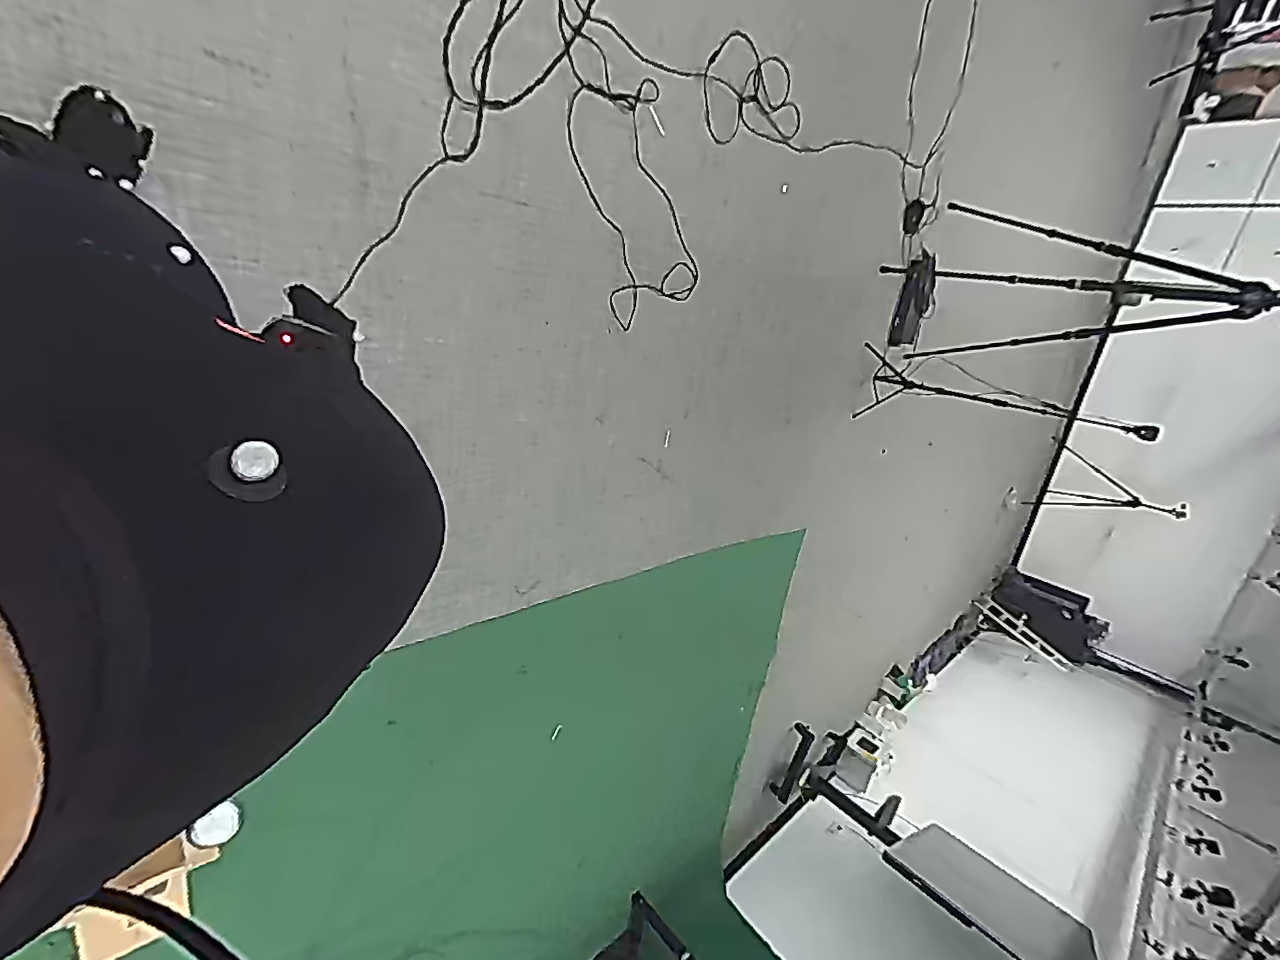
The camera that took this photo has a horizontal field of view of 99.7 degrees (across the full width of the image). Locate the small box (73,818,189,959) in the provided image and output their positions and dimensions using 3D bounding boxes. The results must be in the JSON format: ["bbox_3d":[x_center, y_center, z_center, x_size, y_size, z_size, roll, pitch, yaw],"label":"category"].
[{"bbox_3d":[-1.072,0.859,1.141,0.168,0.176,0.179,-6,114,-44],"label":"small box"}]
